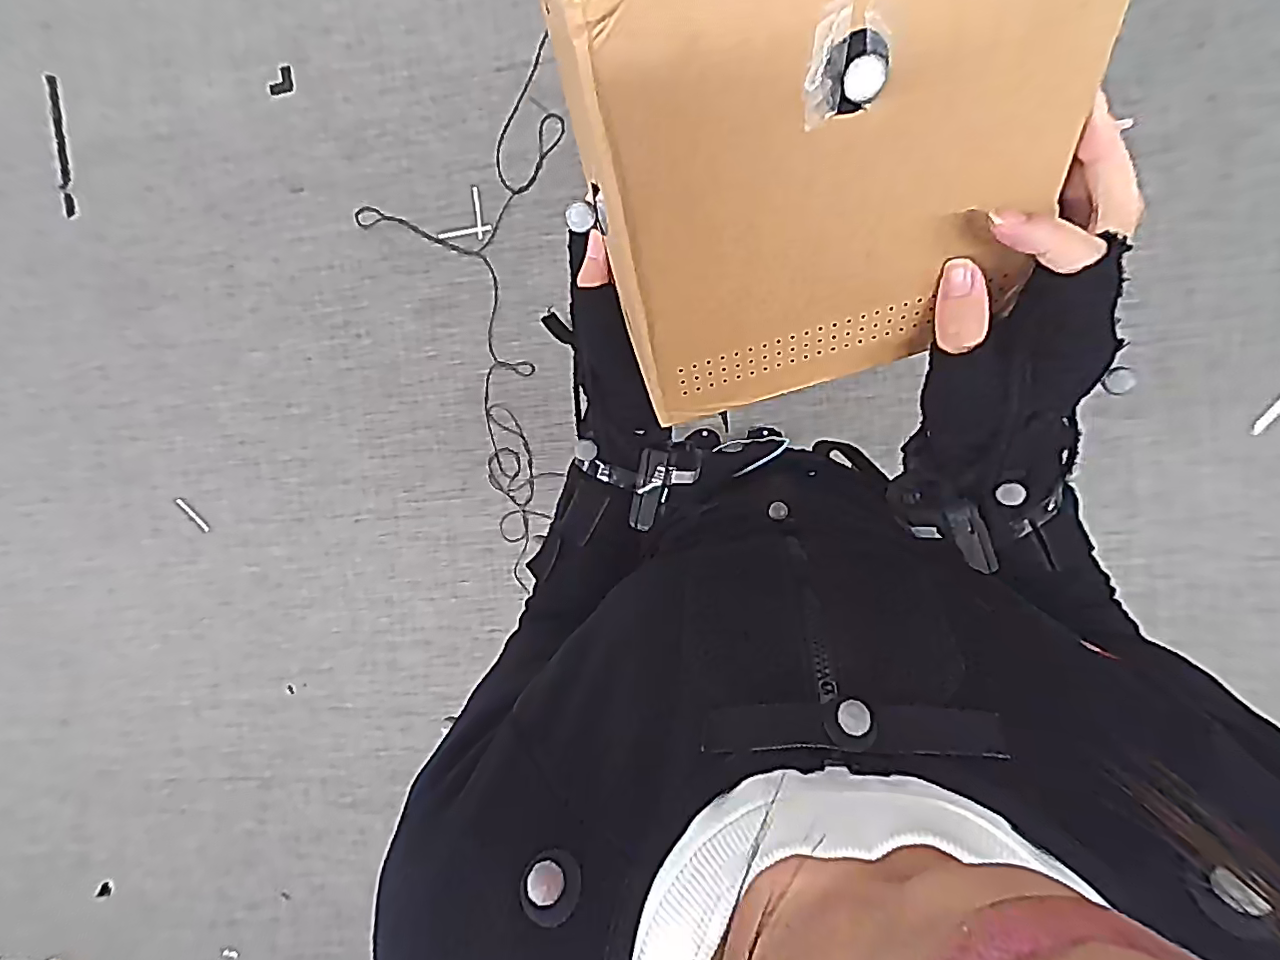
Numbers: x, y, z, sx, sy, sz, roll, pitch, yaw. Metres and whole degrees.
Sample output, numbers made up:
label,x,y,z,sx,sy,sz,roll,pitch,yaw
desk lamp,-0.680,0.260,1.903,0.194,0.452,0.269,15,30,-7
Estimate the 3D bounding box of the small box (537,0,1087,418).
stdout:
label,x,y,z,sx,sy,sz,roll,pitch,yaw
small box,0.064,-0.154,0.259,0.179,0.168,0.176,-16,138,1
